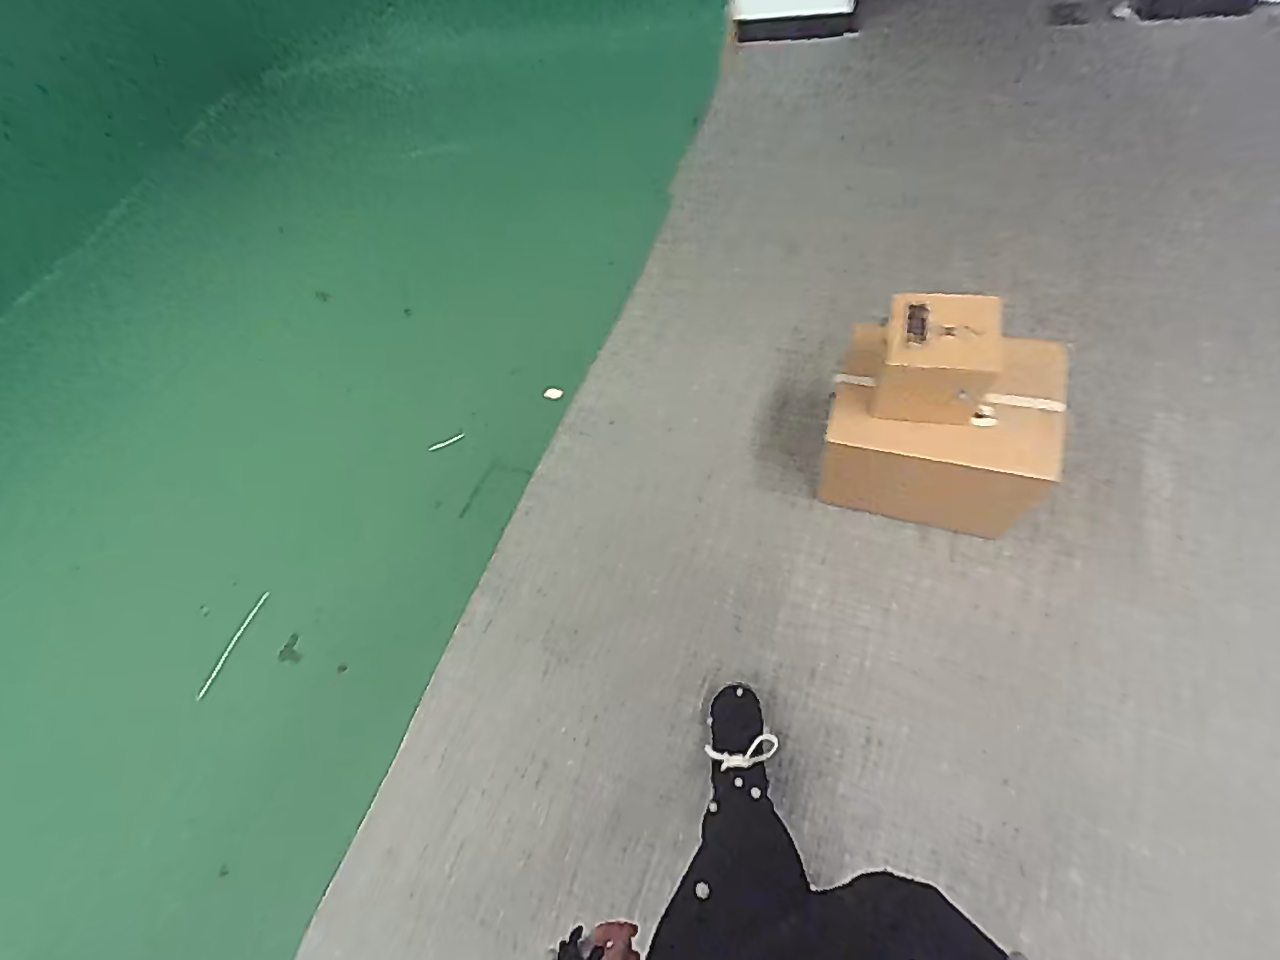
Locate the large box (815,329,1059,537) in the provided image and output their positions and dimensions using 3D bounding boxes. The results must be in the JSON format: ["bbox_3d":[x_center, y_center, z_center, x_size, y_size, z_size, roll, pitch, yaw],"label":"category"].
[{"bbox_3d":[0.633,-0.101,1.212,0.408,0.320,0.320,12,69,19],"label":"large box"}]
